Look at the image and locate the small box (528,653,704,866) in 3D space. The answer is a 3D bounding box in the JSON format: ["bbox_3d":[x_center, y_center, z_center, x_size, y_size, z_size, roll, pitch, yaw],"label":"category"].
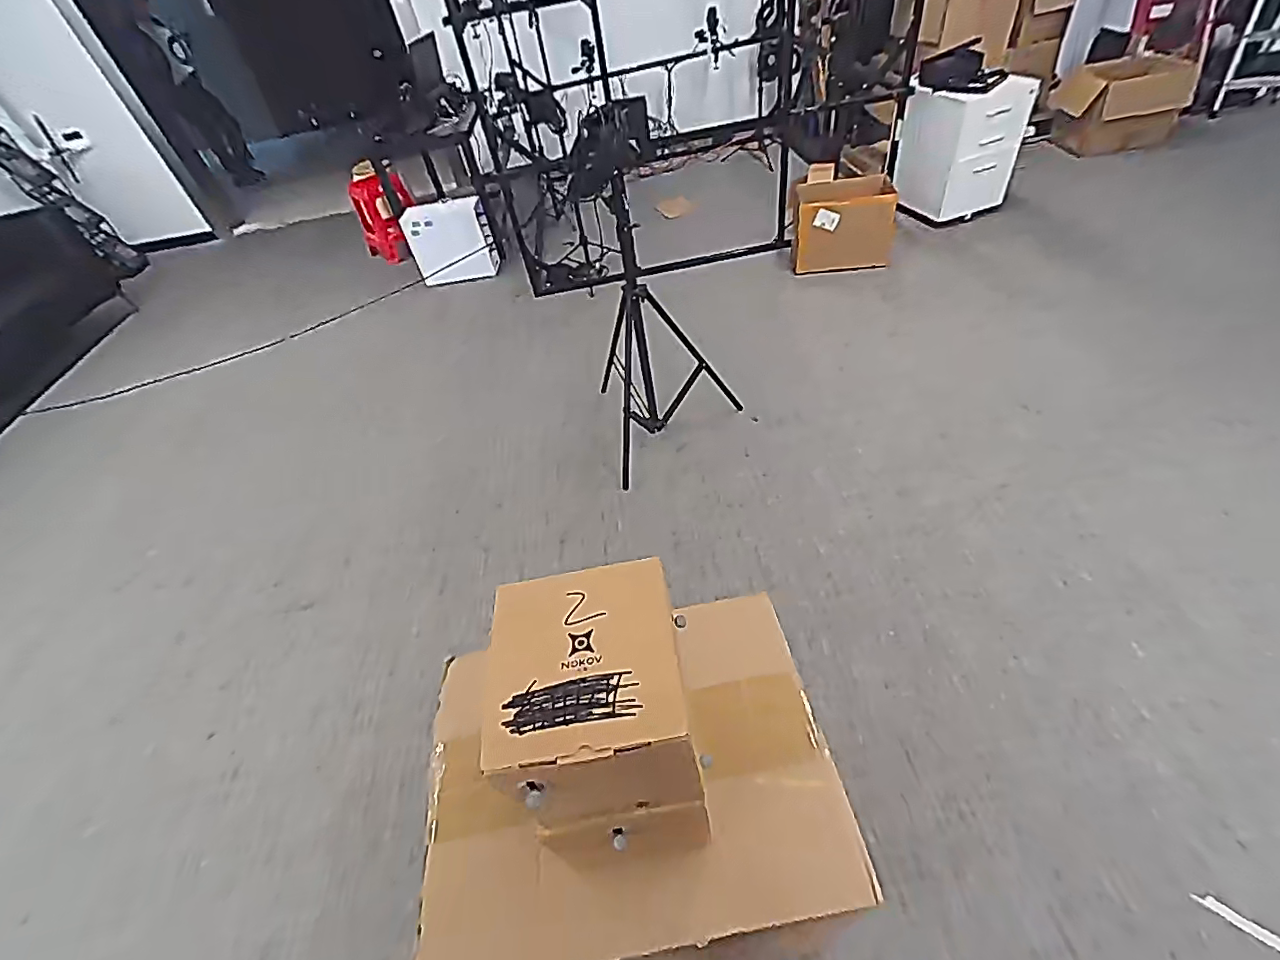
[{"bbox_3d":[-0.024,0.330,0.636,0.179,0.176,0.168,-12,45,0],"label":"small box"}]
